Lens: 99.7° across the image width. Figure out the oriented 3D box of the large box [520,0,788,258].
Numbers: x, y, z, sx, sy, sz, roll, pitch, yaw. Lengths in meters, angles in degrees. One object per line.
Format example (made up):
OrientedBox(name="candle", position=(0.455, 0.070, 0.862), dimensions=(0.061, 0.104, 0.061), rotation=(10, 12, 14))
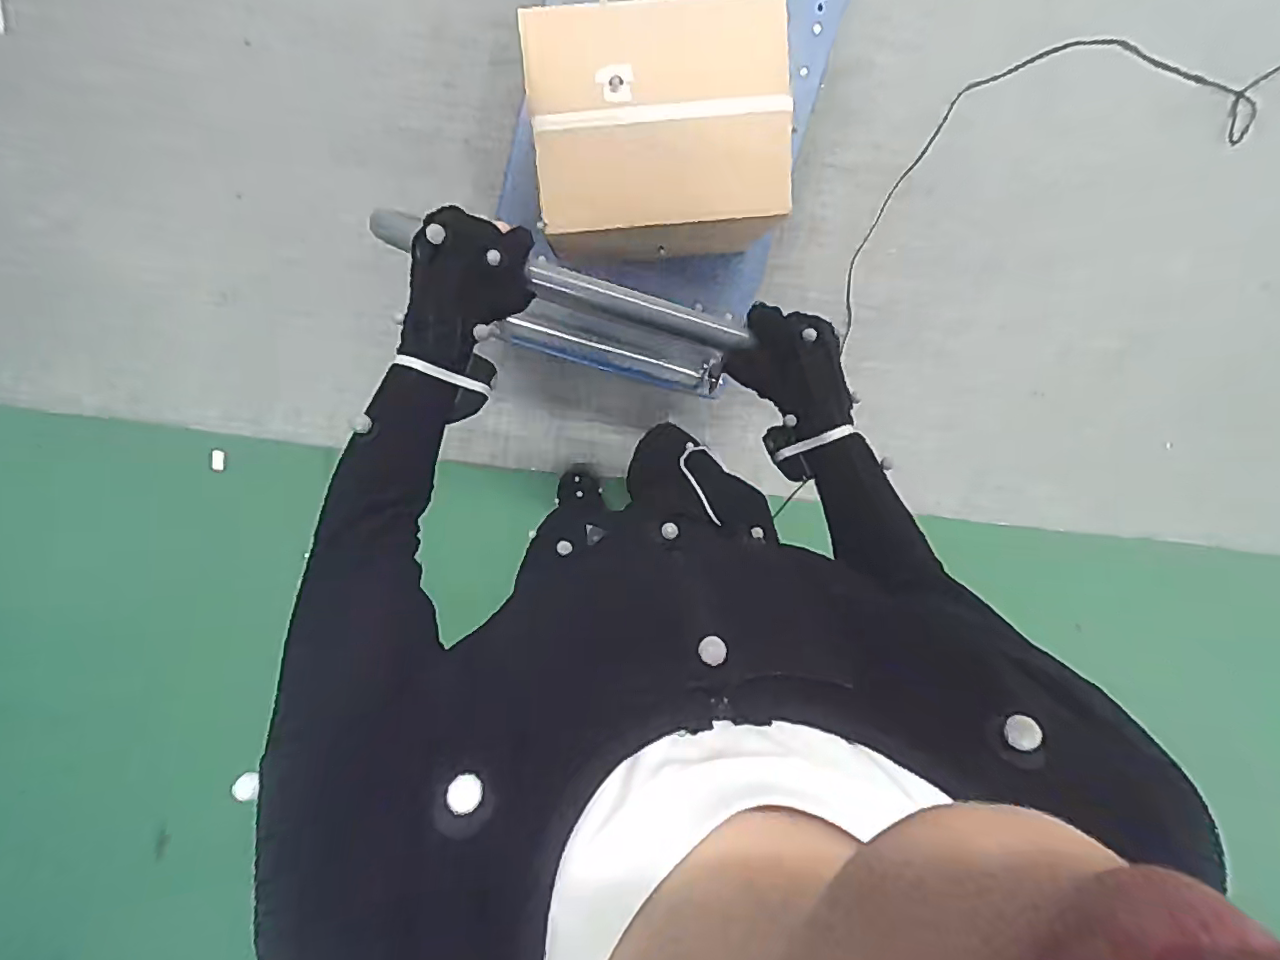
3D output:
OrientedBox(name="large box", position=(0.026, -0.602, 0.980), dimensions=(0.408, 0.320, 0.320), rotation=(-5, 102, -1))
